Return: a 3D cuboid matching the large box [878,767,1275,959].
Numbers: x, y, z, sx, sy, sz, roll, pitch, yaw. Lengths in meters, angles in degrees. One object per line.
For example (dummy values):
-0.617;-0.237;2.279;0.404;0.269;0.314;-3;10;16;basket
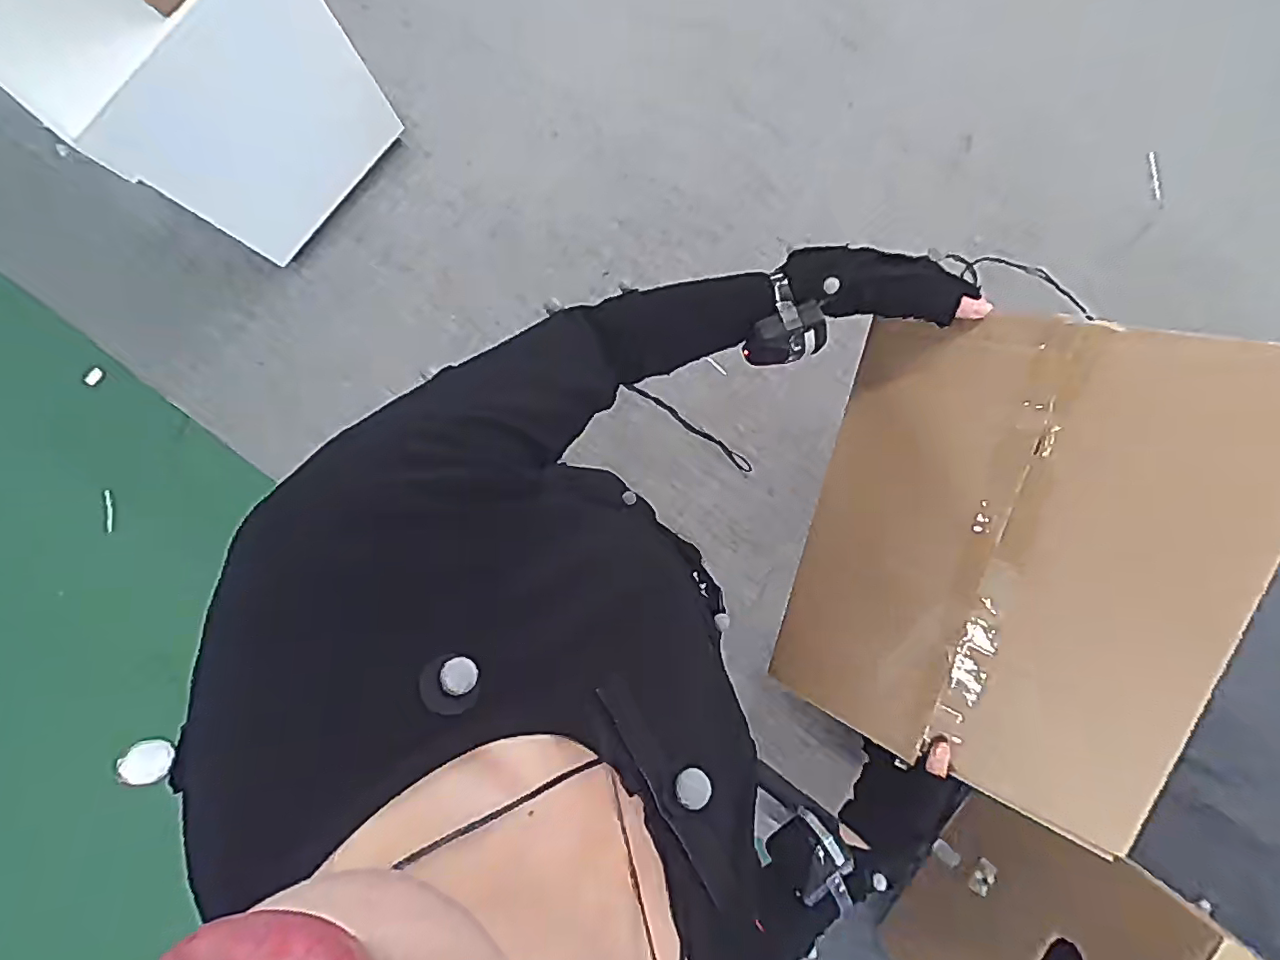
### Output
0.593;0.648;0.649;0.408;0.320;0.320;37;89;-3;large box
